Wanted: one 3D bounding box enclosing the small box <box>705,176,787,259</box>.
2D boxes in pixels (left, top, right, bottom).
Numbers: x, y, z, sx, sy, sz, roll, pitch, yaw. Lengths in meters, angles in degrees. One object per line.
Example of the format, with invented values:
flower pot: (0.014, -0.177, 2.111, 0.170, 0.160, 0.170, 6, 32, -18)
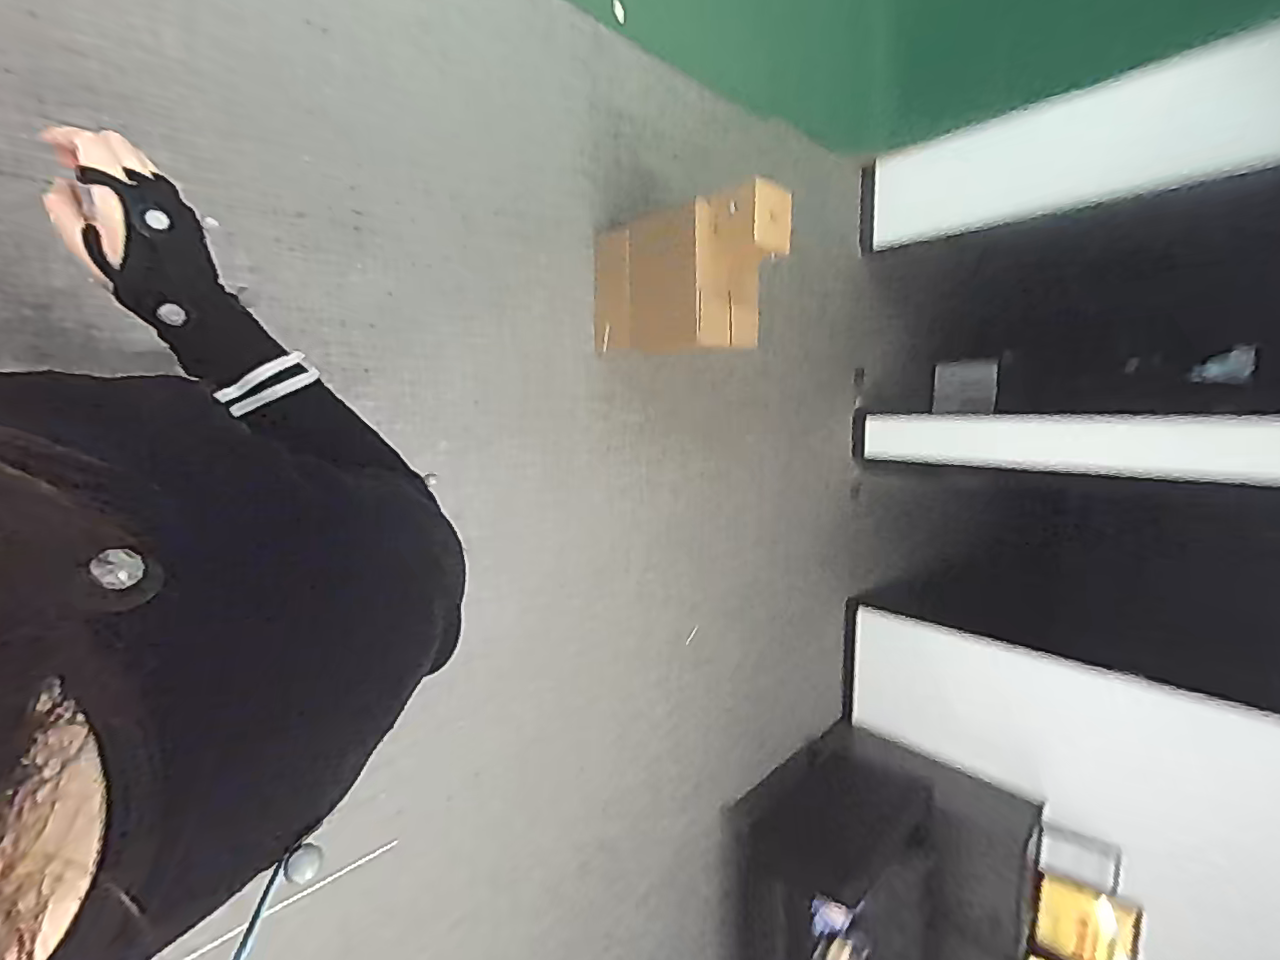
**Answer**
small box: (0.305, -0.754, 1.574, 0.179, 0.176, 0.168, -8, 103, -43)
